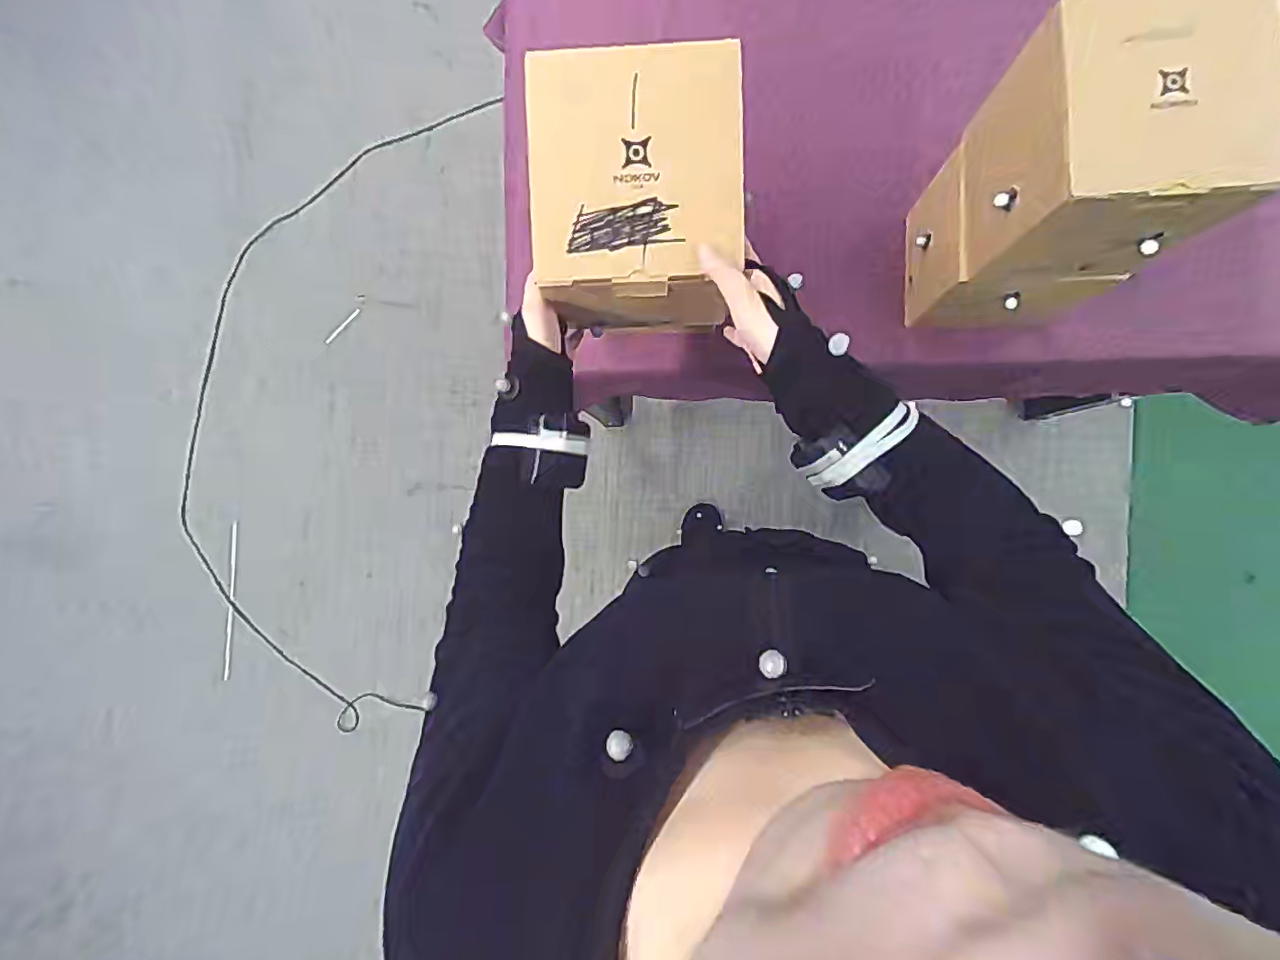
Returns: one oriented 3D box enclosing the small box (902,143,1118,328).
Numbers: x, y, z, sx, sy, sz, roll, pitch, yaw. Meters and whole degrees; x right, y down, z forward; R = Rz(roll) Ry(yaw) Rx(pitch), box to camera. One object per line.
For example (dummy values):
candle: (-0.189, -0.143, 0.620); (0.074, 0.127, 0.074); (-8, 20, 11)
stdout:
small box: (0.448, -0.297, 0.681); (0.179, 0.176, 0.168); (2, 89, 6)

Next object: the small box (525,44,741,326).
small box: (-0.001, -0.242, 0.491); (0.168, 0.176, 0.179); (-2, 94, 2)

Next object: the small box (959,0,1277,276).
small box: (0.431, -0.309, 0.519); (0.168, 0.176, 0.179); (0, 87, 5)
